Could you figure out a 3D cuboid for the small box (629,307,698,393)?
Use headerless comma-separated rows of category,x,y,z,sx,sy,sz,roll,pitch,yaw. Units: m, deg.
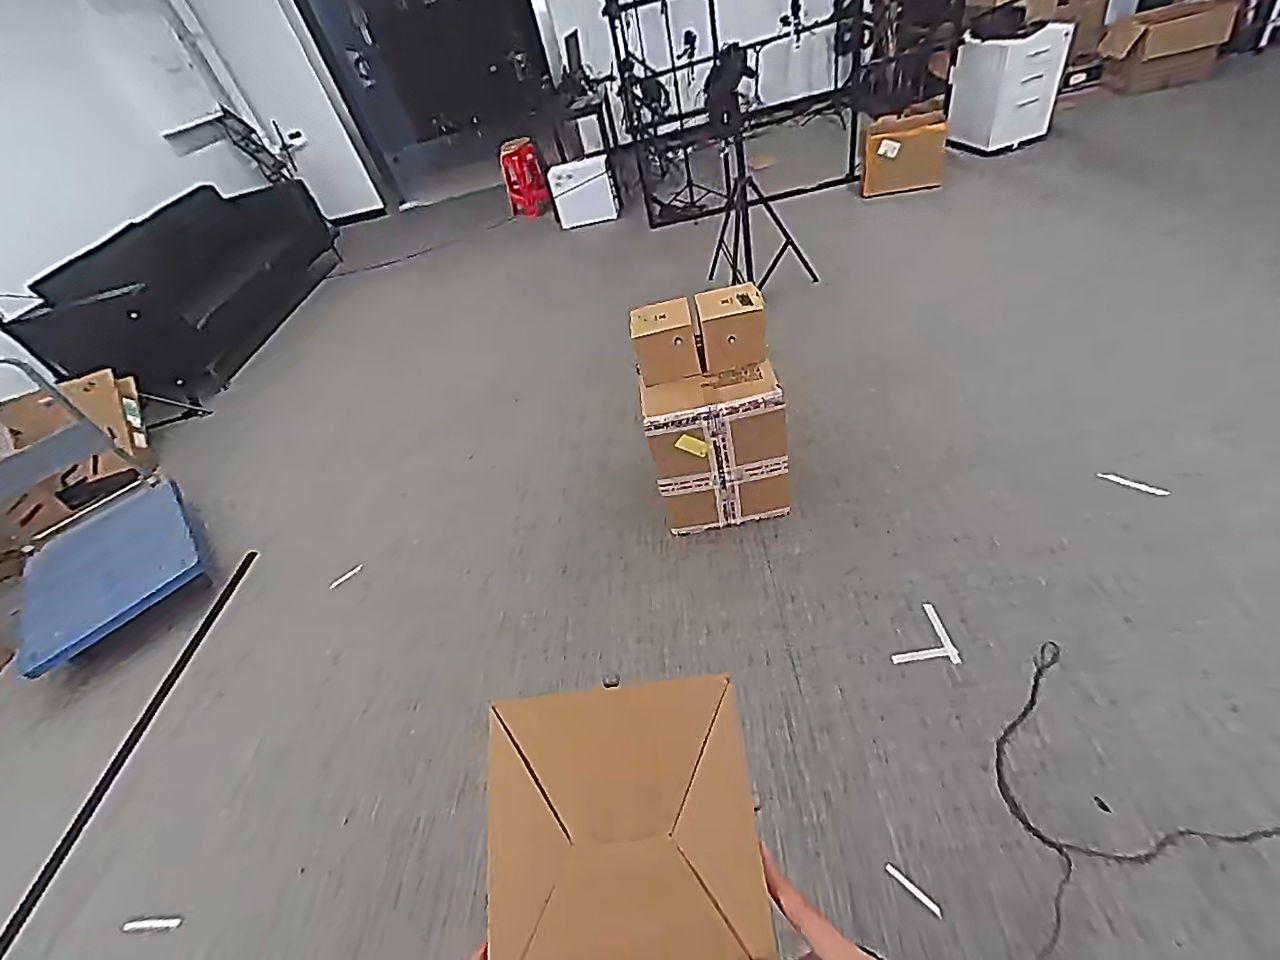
small box,0.073,-0.386,1.614,0.179,0.176,0.168,-12,43,9

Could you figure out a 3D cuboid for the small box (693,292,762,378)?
small box,0.259,-0.424,1.596,0.179,0.176,0.168,-11,44,6
